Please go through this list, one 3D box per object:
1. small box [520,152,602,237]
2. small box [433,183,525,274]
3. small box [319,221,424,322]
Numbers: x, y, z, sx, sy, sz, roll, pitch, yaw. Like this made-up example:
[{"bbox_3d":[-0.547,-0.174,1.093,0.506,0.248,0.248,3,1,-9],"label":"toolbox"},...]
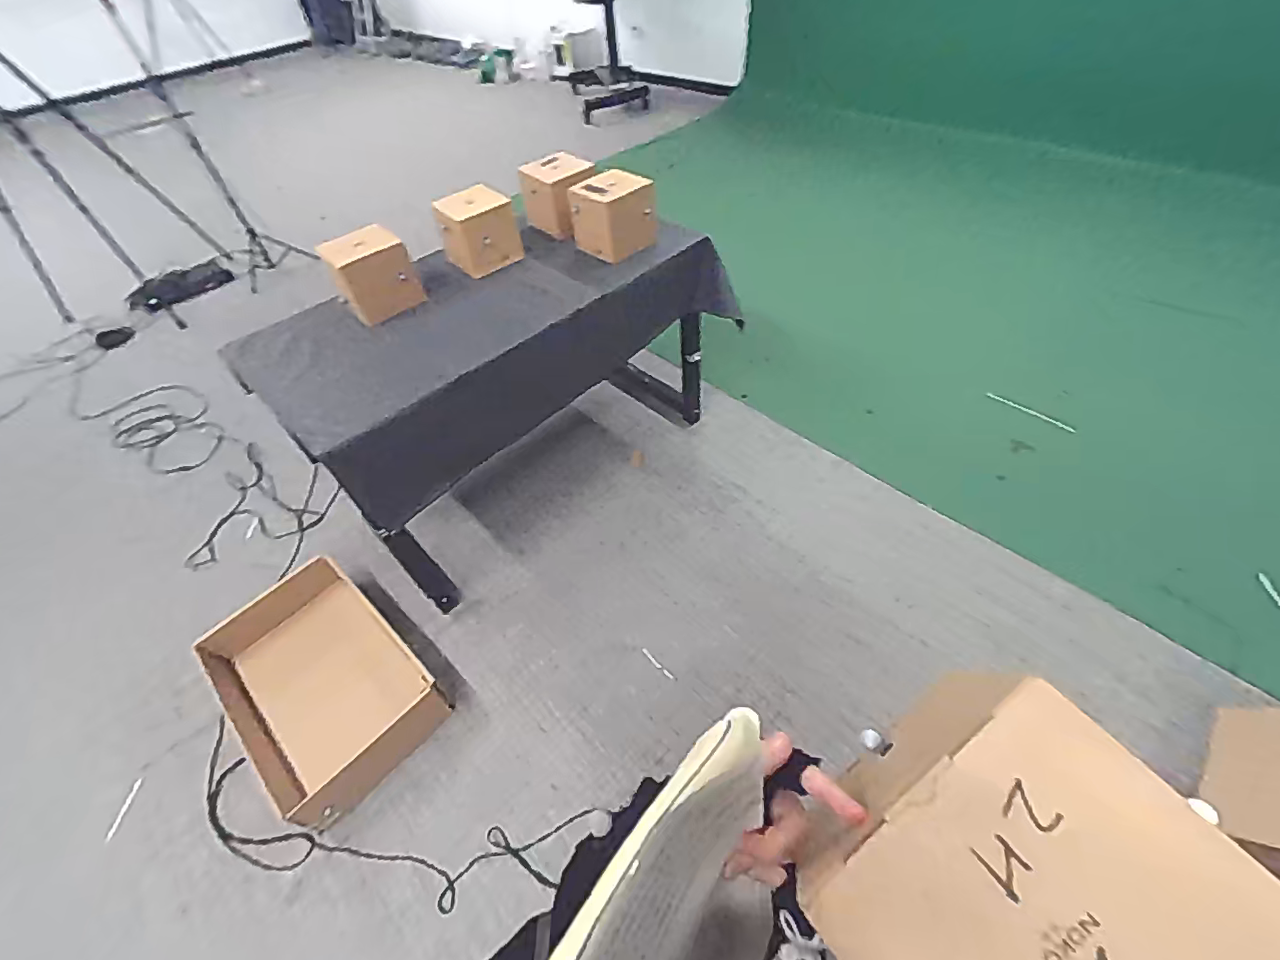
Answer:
[{"bbox_3d":[-0.237,-0.871,1.652,0.168,0.176,0.179,-36,56,-22],"label":"small box"},{"bbox_3d":[-0.452,-0.712,1.541,0.168,0.176,0.179,-35,55,-22],"label":"small box"},{"bbox_3d":[-0.694,-0.546,1.420,0.179,0.176,0.168,-35,55,-24],"label":"small box"}]
